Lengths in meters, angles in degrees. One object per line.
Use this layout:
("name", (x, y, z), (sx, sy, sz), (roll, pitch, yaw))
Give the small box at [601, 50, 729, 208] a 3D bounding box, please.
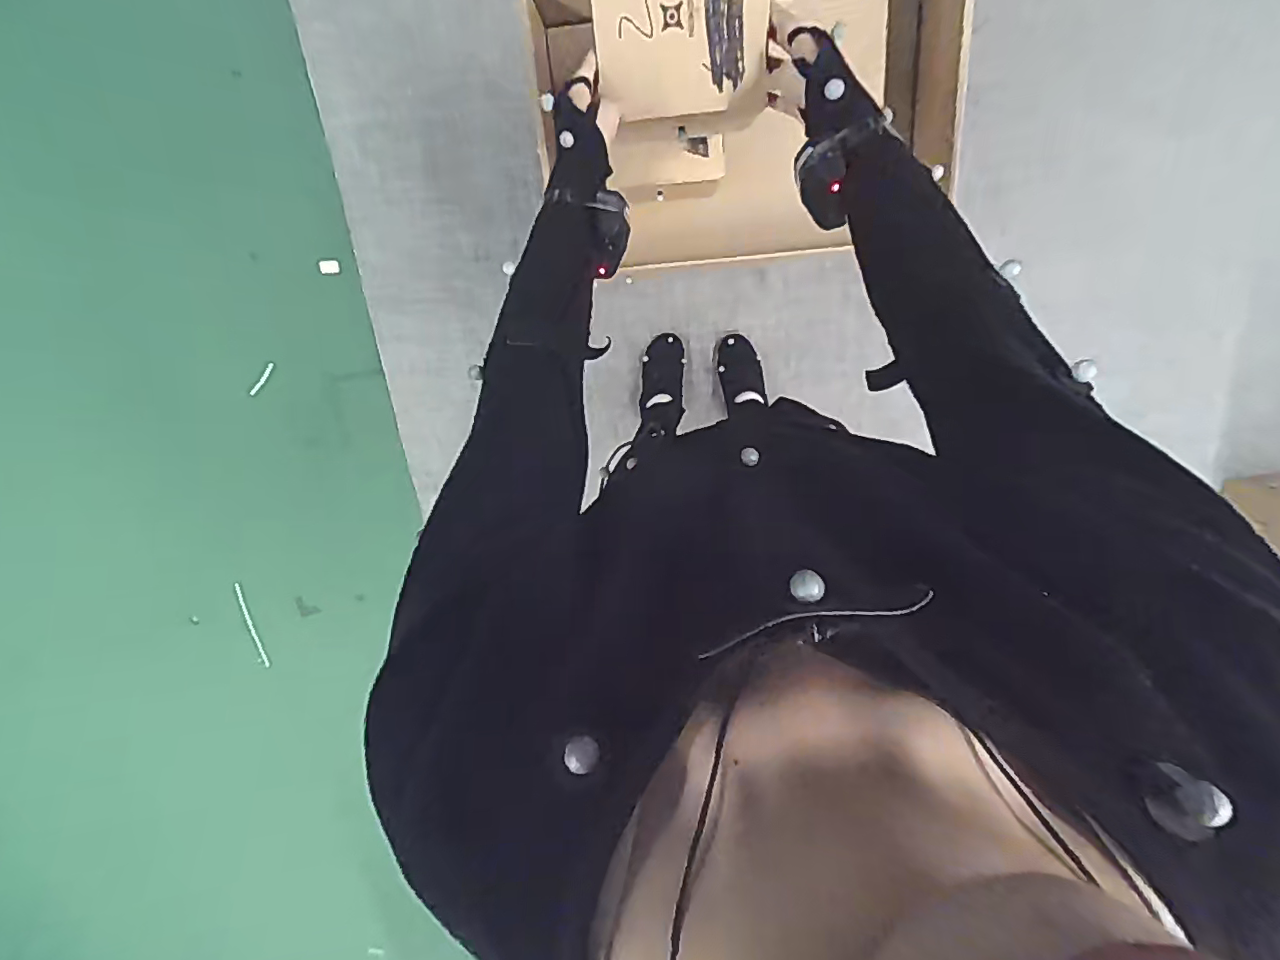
("small box", (0.038, -0.528, 0.836), (0.179, 0.176, 0.168), (-3, 108, 3))
